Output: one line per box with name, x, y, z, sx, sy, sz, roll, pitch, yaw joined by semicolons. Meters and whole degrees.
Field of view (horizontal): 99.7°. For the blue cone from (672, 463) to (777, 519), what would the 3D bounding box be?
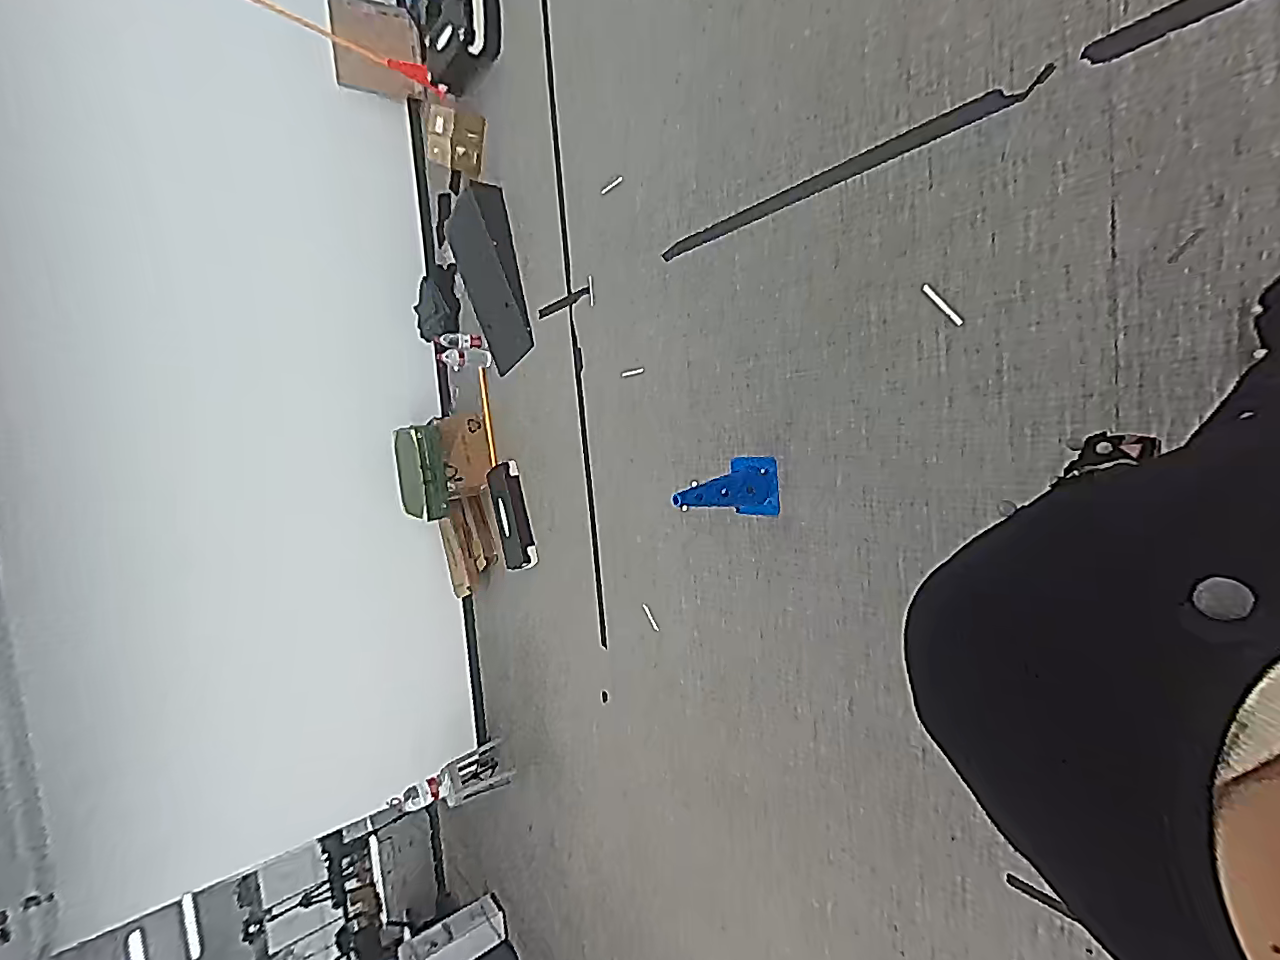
blue cone;0.254;0.058;1.738;0.193;0.380;0.192;3;100;53
